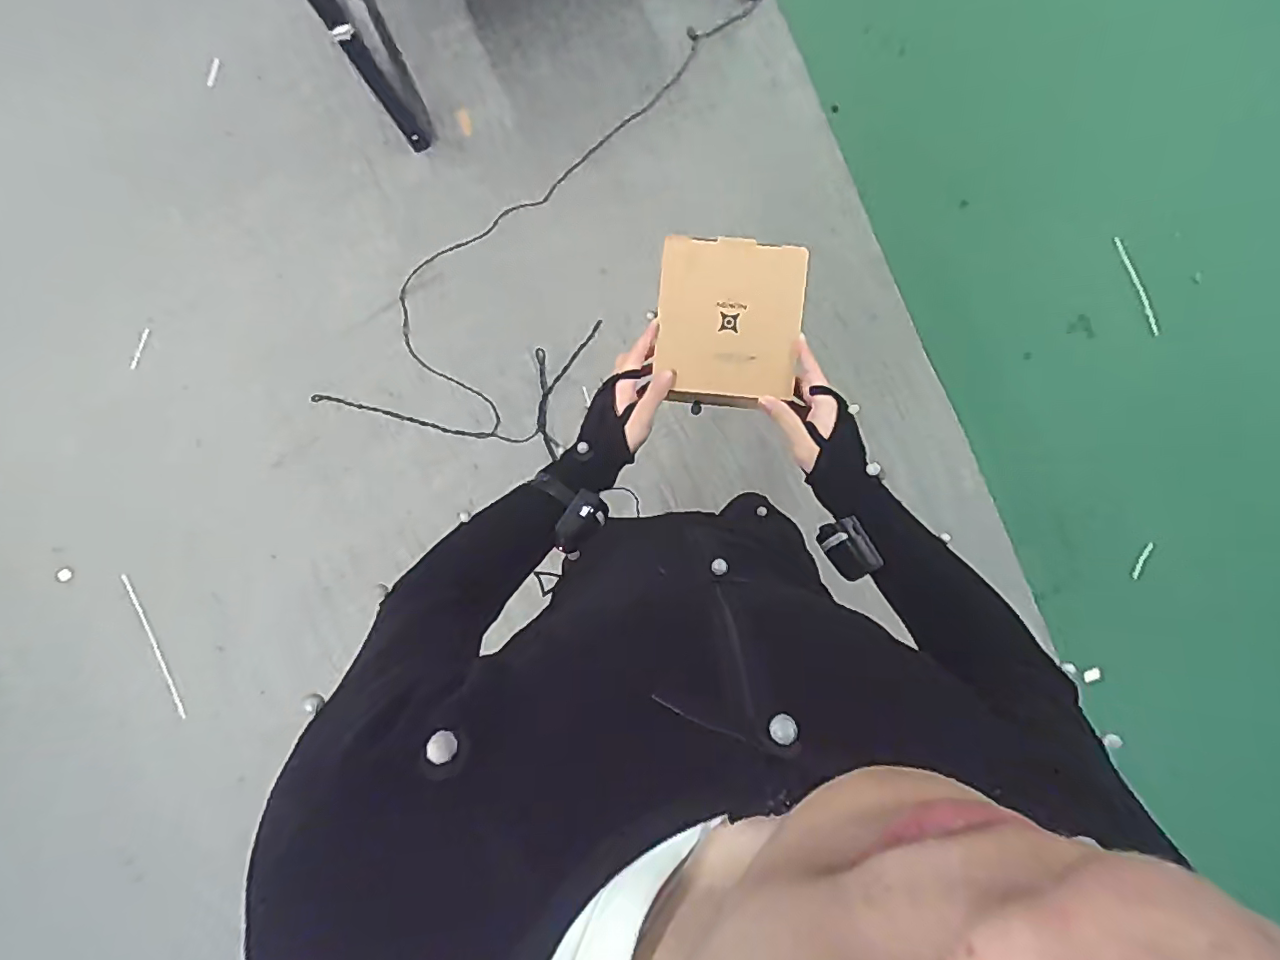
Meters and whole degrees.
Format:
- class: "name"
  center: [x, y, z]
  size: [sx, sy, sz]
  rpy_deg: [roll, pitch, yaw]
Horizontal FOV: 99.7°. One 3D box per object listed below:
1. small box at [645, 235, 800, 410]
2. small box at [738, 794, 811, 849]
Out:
- class: "small box"
  center: [0.094, -0.190, 0.695]
  size: [0.168, 0.176, 0.179]
  rpy_deg: [5, 94, 1]
- class: "small box"
  center: [0.382, 1.002, 1.488]
  size: [0.168, 0.176, 0.179]
  rpy_deg: [-20, 89, 0]
